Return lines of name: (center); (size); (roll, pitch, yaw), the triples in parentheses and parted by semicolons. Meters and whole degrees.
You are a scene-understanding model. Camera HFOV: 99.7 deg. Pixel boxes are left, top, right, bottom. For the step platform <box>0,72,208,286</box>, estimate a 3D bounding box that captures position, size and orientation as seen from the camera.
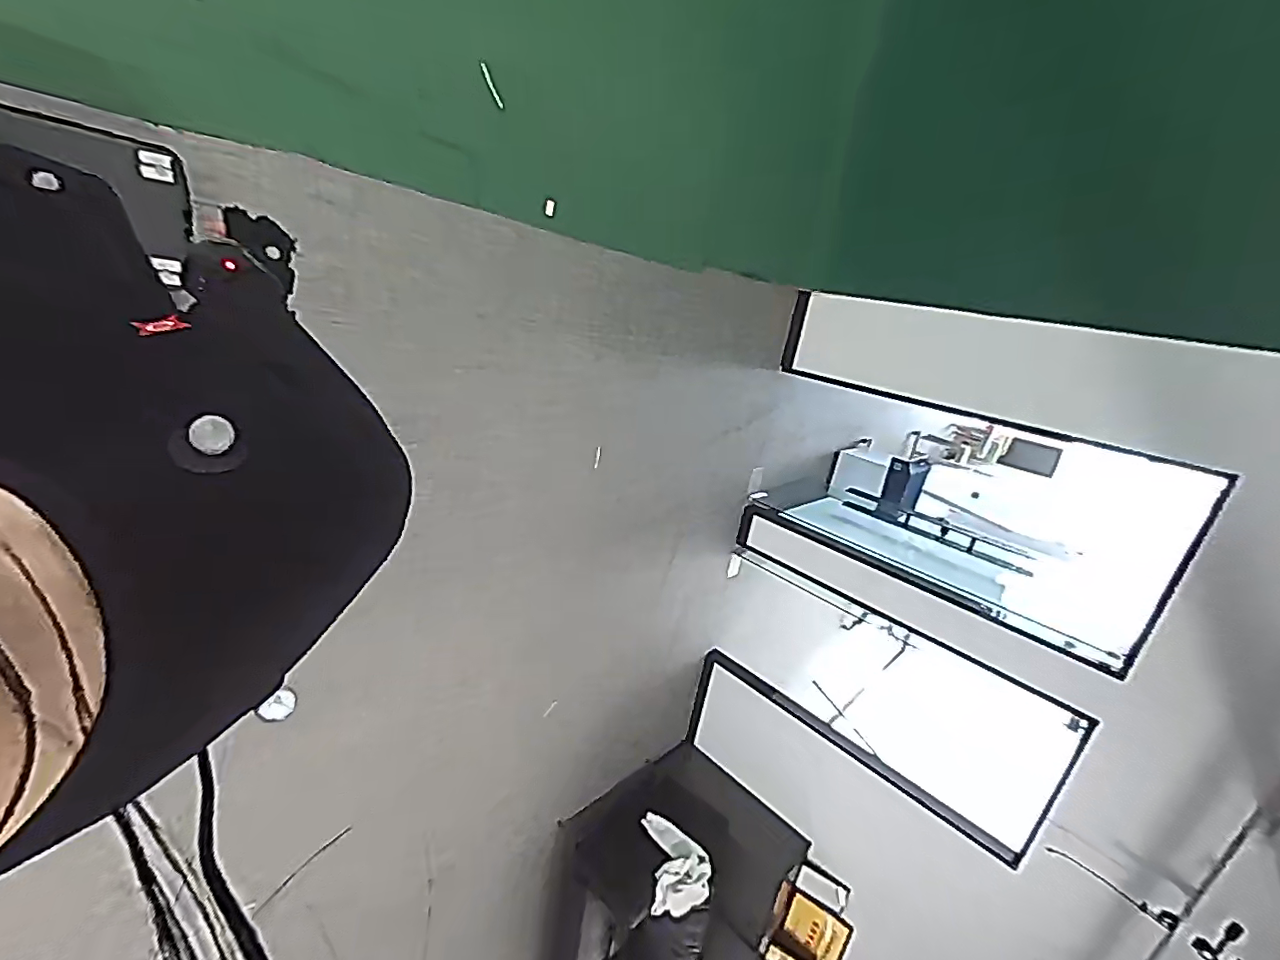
step platform: (-1.070, -0.479, 0.777); (0.684, 0.204, 0.286); (-9, 118, -46)
